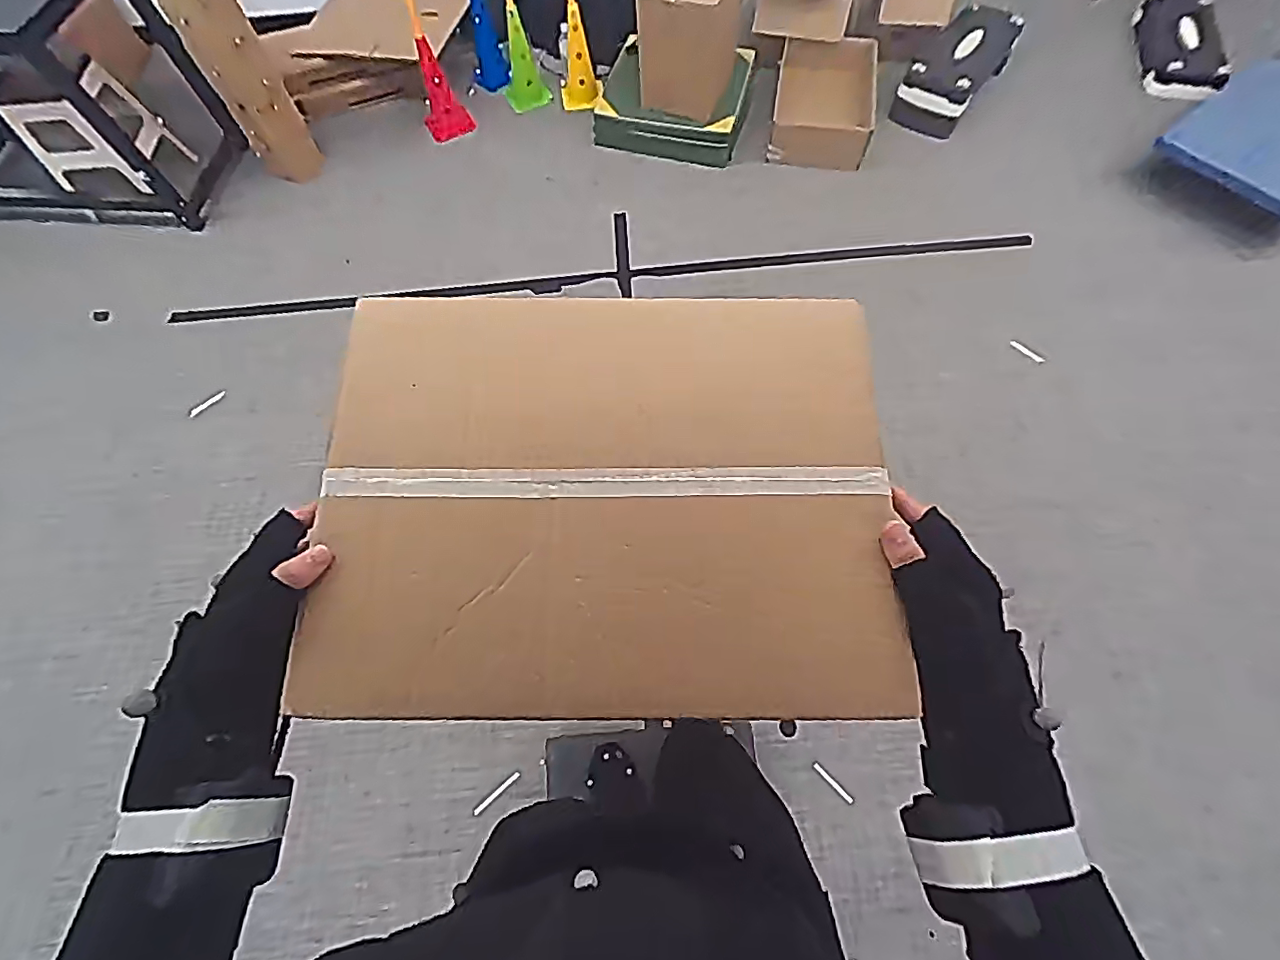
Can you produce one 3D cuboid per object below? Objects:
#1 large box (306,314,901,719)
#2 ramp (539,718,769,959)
[{"bbox_3d":[-0.024,0.053,0.543,0.408,0.320,0.320,1,71,-1],"label":"large box"},{"bbox_3d":[0.040,1.059,1.171,0.509,0.206,0.991,-5,66,-2],"label":"ramp"}]
